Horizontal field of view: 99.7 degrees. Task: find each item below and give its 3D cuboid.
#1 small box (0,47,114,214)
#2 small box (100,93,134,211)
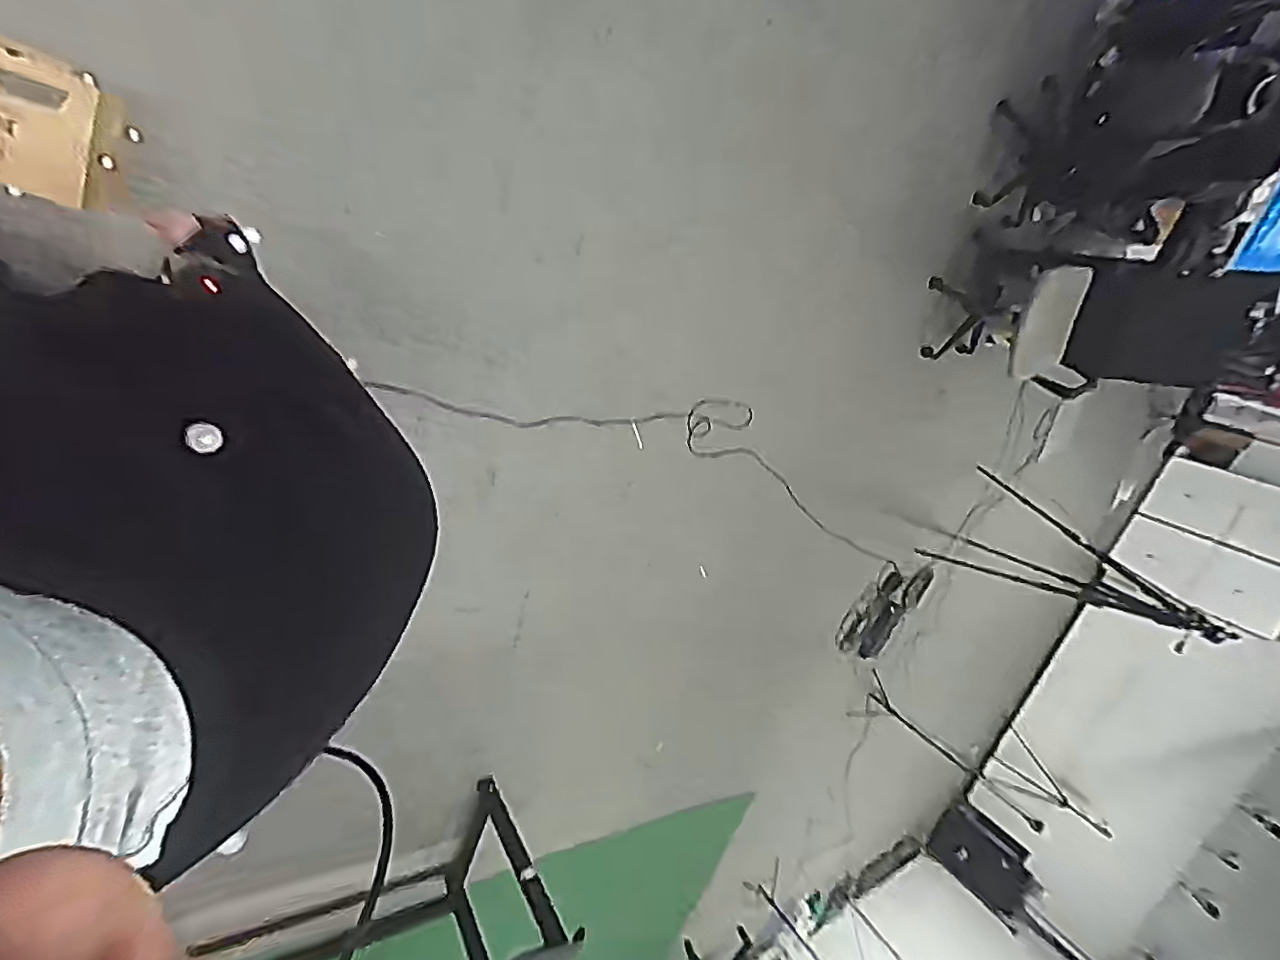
[{"bbox_3d":[-0.896,-0.512,0.784,0.168,0.176,0.179,11,107,-40],"label":"small box"},{"bbox_3d":[-0.980,-0.579,0.909,0.168,0.176,0.179,9,108,-39],"label":"small box"}]
